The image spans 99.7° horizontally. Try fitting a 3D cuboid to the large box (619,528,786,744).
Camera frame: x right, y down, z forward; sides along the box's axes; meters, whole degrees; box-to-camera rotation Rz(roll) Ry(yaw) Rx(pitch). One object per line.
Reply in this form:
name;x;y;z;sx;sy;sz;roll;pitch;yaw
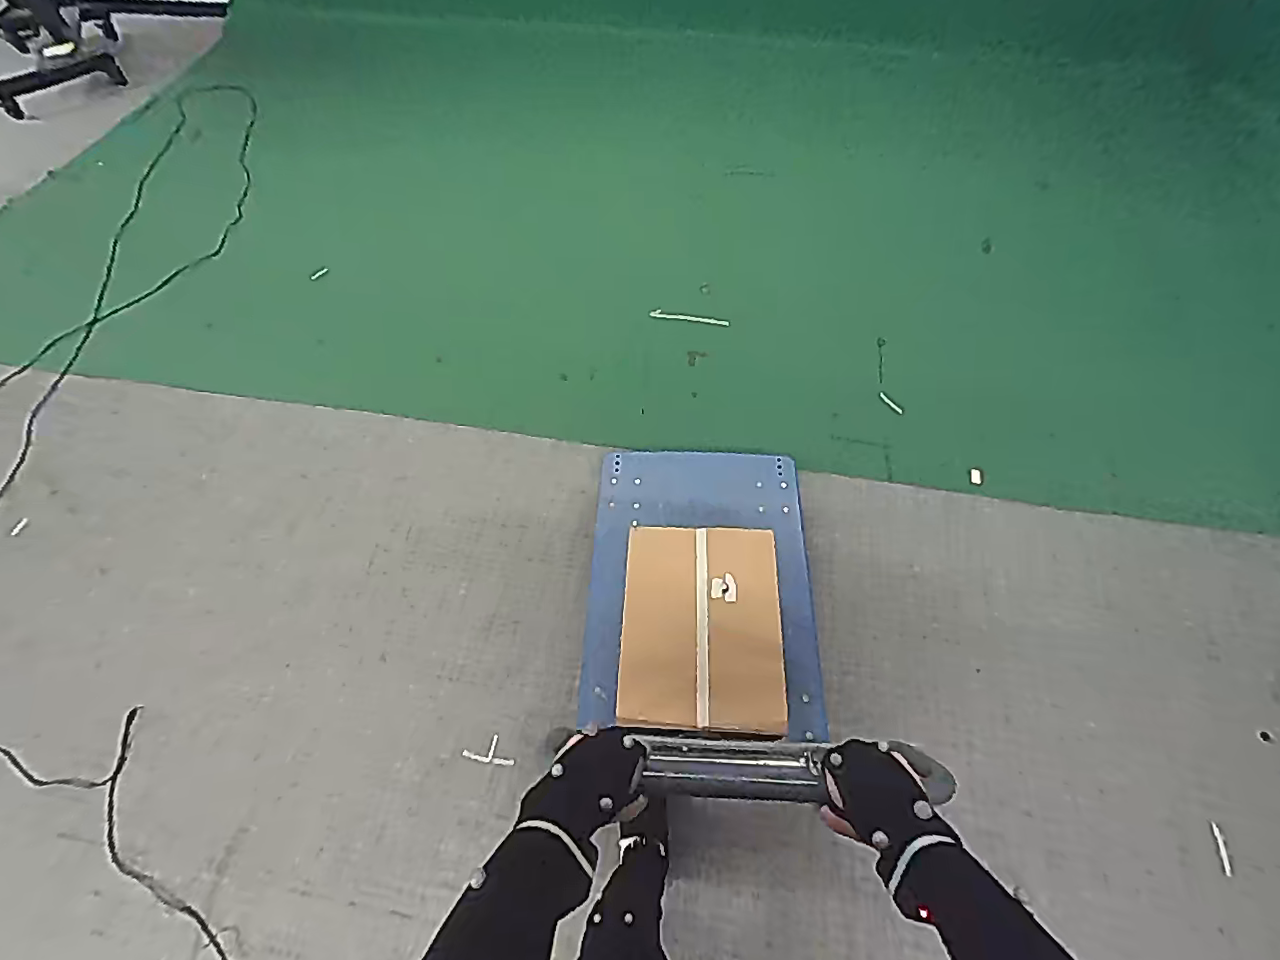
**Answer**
large box;0.129;0.358;1.217;0.320;0.320;0.408;1;58;3
